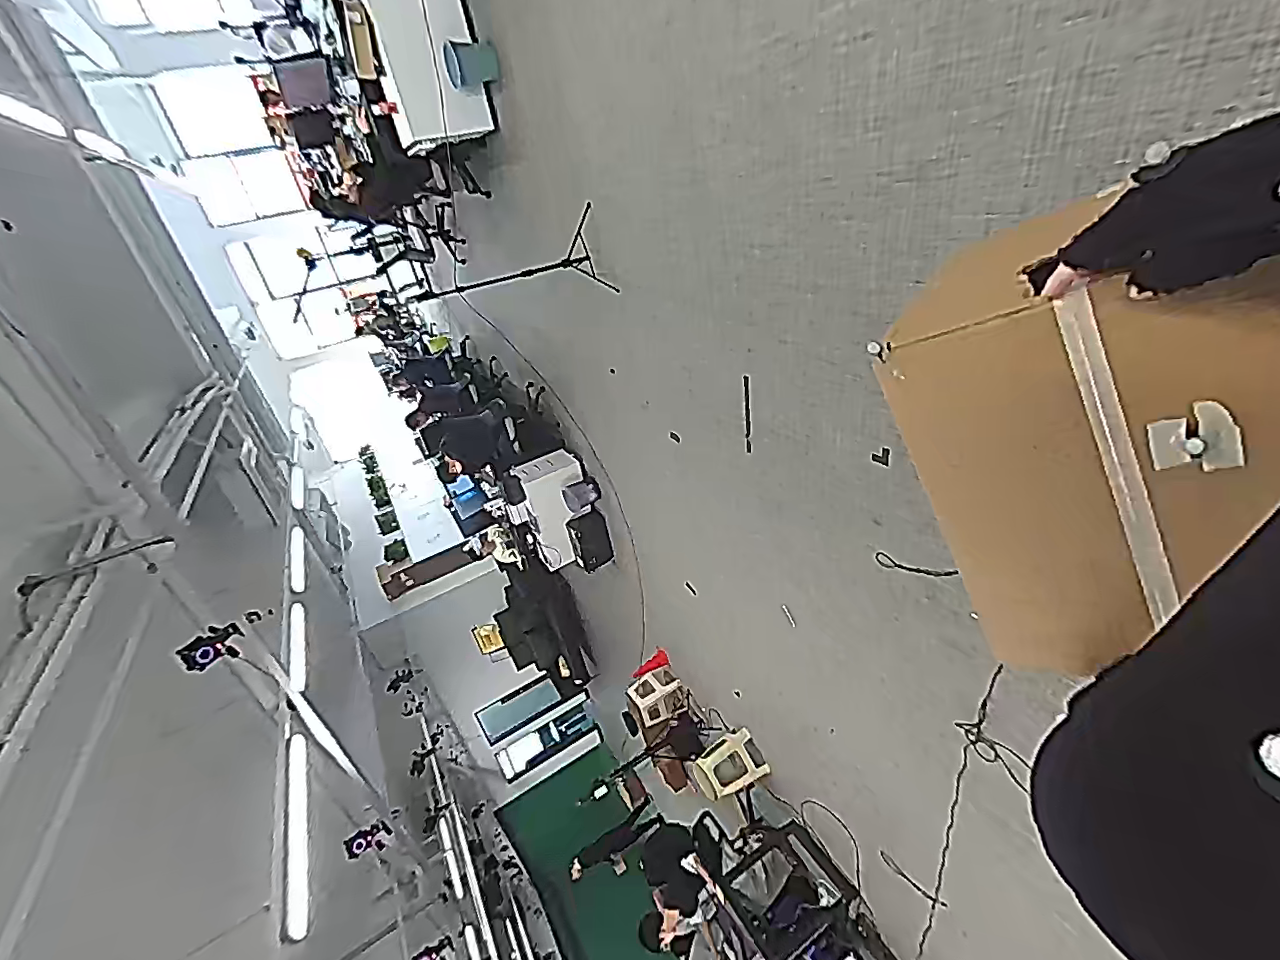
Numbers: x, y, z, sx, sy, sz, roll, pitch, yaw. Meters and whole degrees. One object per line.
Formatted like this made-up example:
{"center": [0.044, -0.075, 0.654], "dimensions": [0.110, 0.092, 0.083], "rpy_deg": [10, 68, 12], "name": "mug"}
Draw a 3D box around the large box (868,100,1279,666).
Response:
{"center": [0.502, -0.079, 0.542], "dimensions": [0.320, 0.320, 0.408], "rpy_deg": [-12, 114, 49], "name": "large box"}
